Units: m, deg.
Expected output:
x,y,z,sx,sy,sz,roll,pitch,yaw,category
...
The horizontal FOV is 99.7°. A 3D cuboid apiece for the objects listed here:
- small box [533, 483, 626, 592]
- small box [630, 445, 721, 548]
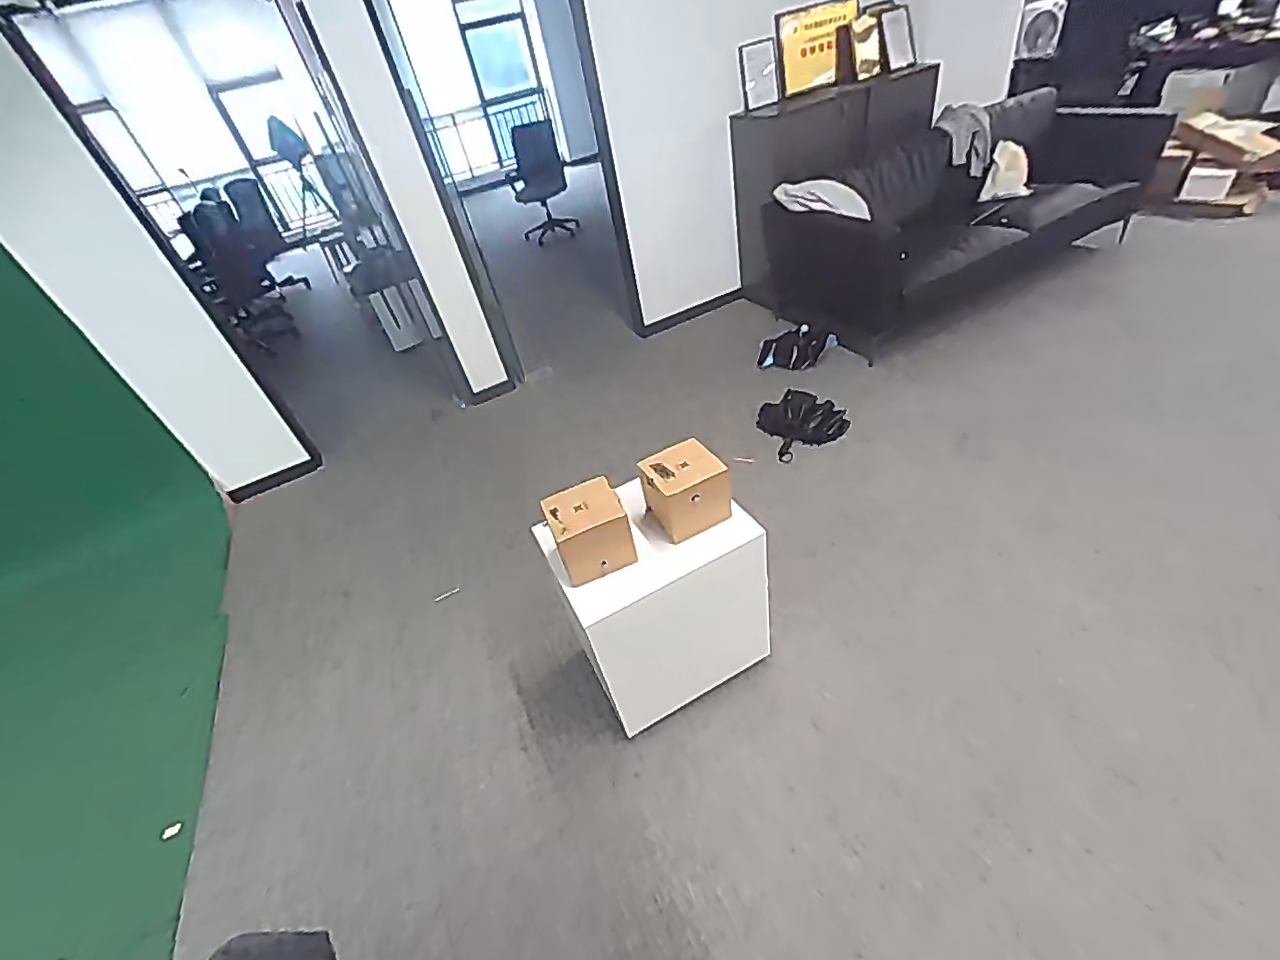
x,y,z,sx,sy,sz,roll,pitch,yaw,category
-0.143,0.139,1.313,0.179,0.176,0.168,-20,39,-14,small box
0.096,0.043,1.381,0.179,0.176,0.168,-23,40,-17,small box
